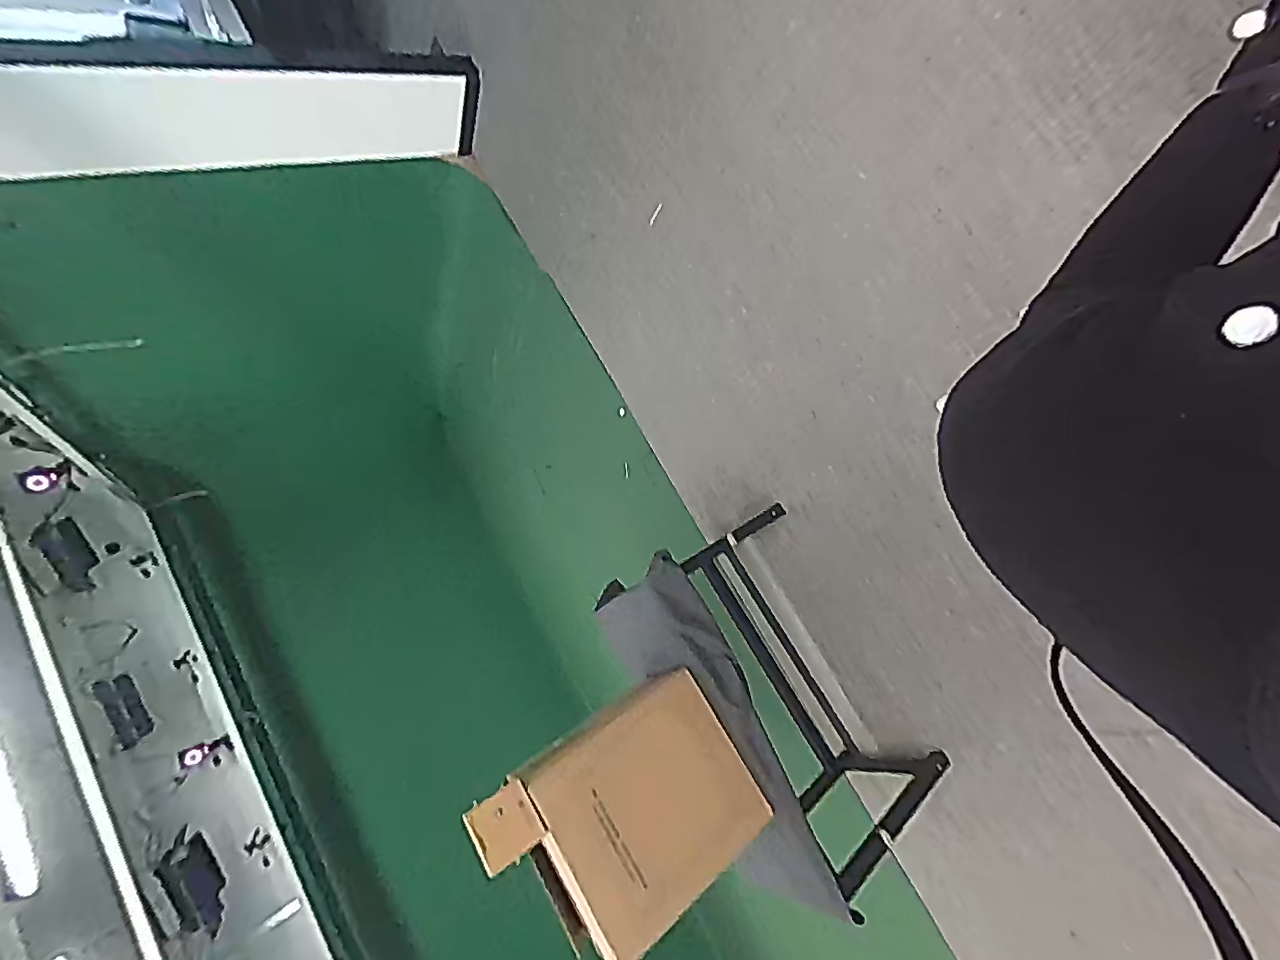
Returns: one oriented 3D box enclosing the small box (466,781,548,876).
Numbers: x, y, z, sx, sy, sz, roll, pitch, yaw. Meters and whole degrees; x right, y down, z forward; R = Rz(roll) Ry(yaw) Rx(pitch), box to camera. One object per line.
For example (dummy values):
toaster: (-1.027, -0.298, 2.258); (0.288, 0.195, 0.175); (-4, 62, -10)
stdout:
small box: (-0.379, 0.985, 1.541); (0.168, 0.176, 0.179); (57, 149, 19)
